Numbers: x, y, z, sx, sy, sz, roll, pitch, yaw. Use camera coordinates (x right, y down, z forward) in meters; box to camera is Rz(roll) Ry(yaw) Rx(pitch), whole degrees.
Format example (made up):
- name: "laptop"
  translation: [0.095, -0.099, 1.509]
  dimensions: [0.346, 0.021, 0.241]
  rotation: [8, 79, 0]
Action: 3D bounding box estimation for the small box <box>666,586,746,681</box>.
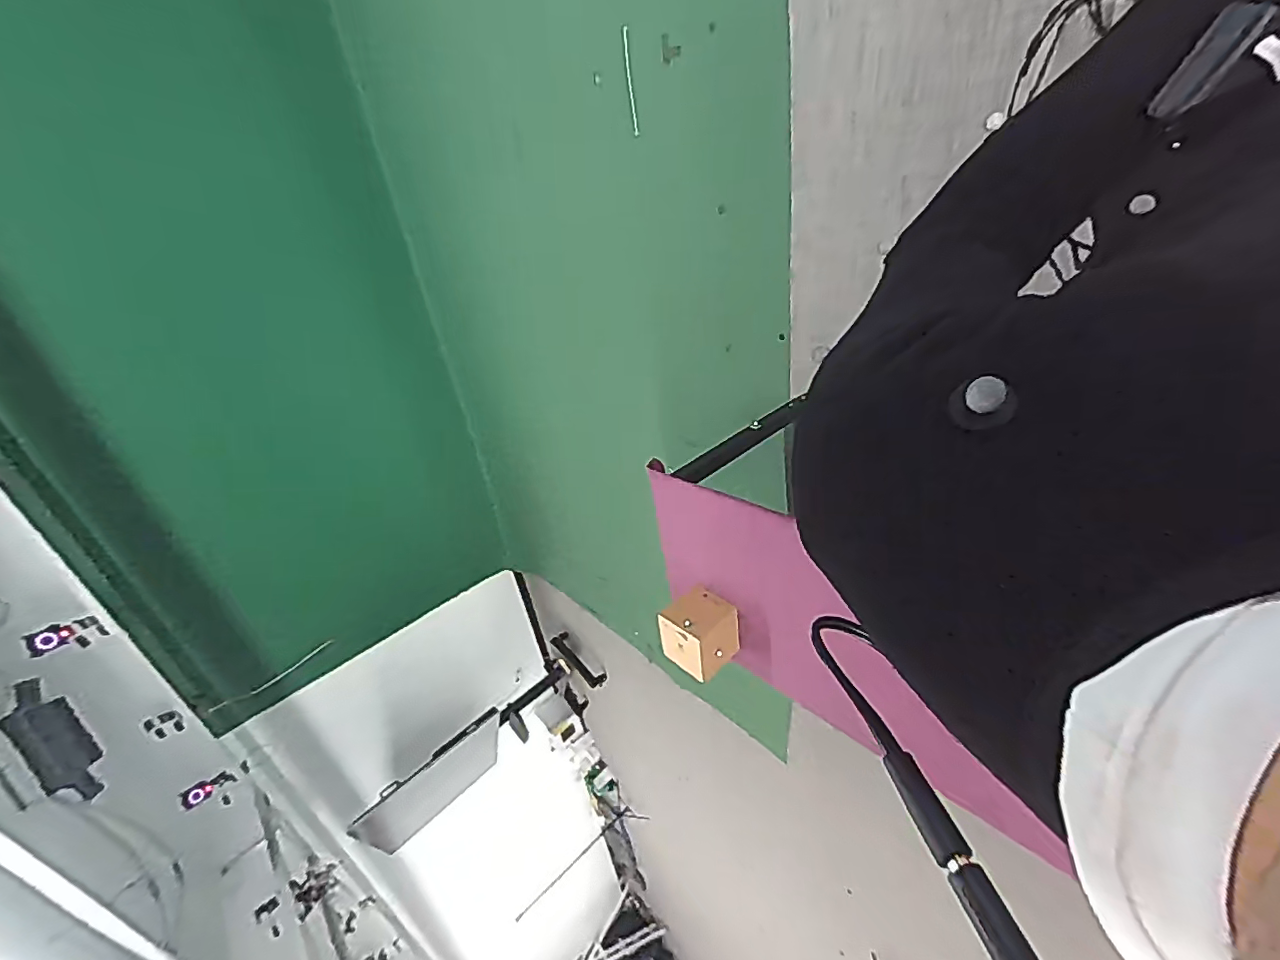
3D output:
- name: "small box"
  translation: [0.202, 0.453, 1.616]
  dimensions: [0.168, 0.176, 0.179]
  rotation: [22, 133, 43]
